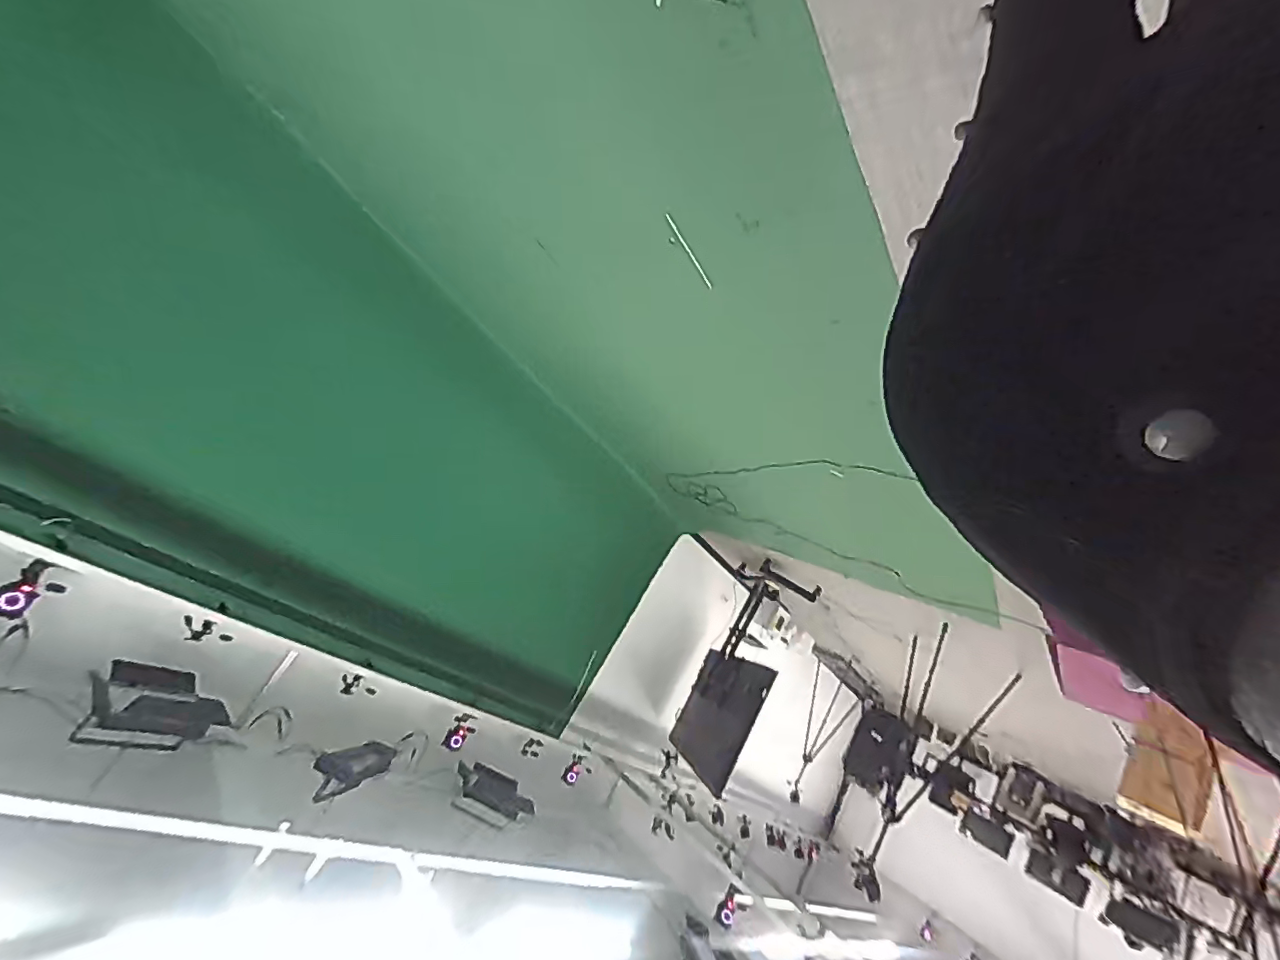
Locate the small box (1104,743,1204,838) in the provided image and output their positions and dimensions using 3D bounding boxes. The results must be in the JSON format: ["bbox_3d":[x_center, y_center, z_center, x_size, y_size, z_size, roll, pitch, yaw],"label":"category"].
[{"bbox_3d":[1.475,0.883,1.558,0.179,0.176,0.168,15,157,47],"label":"small box"}]

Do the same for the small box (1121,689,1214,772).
[{"bbox_3d":[1.562,0.751,1.603,0.179,0.176,0.168,14,156,48],"label":"small box"}]
